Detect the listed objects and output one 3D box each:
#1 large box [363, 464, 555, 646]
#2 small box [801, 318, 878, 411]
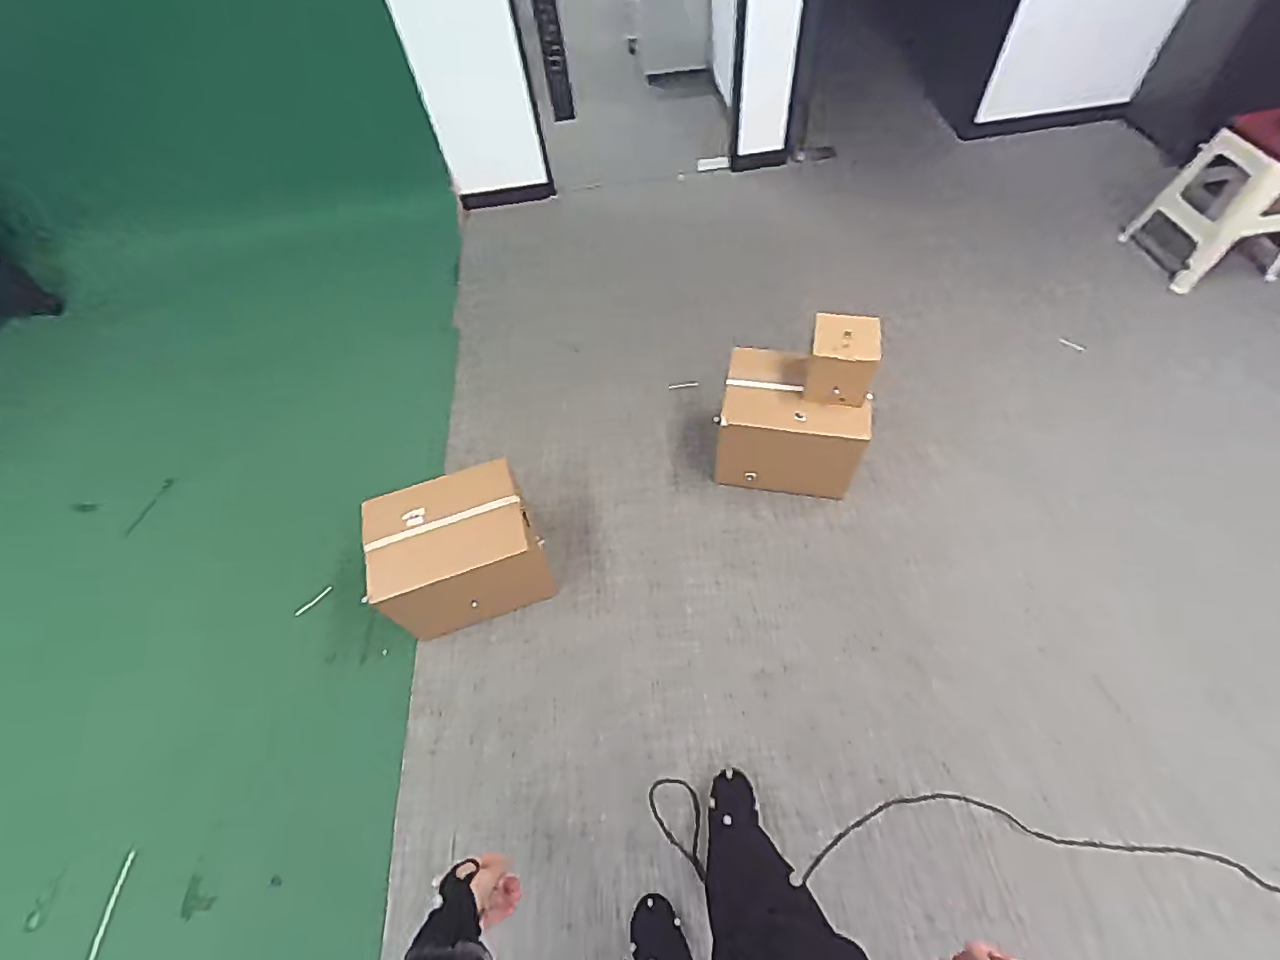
[{"bbox_3d":[-0.494,0.216,1.518,0.408,0.320,0.320,-19,56,-6],"label":"large box"},{"bbox_3d":[0.543,-0.316,1.482,0.168,0.176,0.179,8,56,11],"label":"small box"}]
